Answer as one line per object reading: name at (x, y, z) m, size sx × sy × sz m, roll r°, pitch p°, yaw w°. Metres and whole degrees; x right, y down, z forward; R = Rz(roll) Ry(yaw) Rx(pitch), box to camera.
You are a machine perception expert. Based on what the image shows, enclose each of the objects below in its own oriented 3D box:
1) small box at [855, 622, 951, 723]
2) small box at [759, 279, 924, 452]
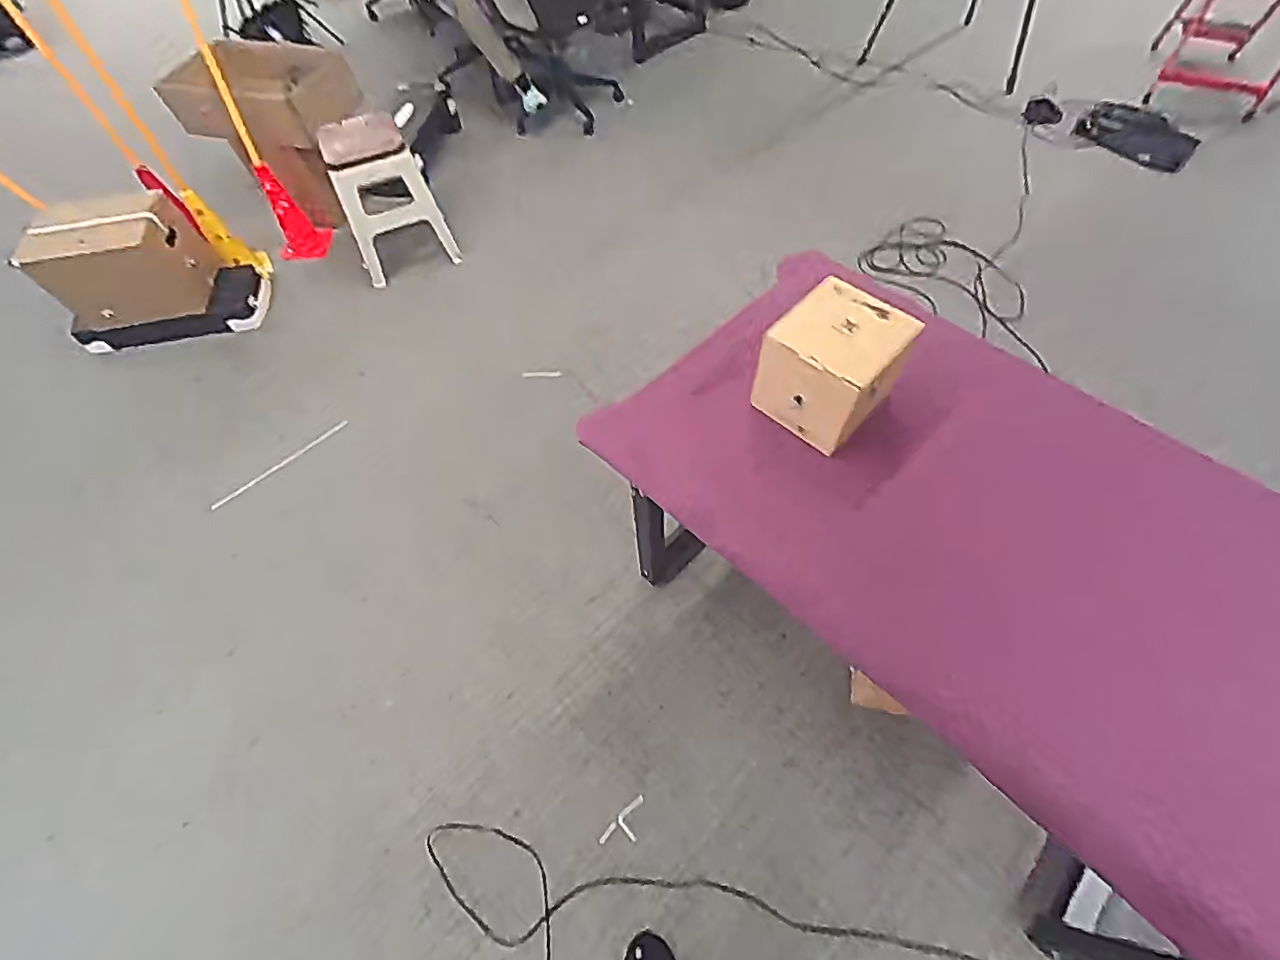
small box at (0.628, 0.464, 1.304) m, size 0.168 × 0.176 × 0.179 m, roll 11°, pitch 60°, yaw 10°
small box at (0.308, -0.178, 0.866) m, size 0.168 × 0.176 × 0.179 m, roll 39°, pitch 69°, yaw 22°
